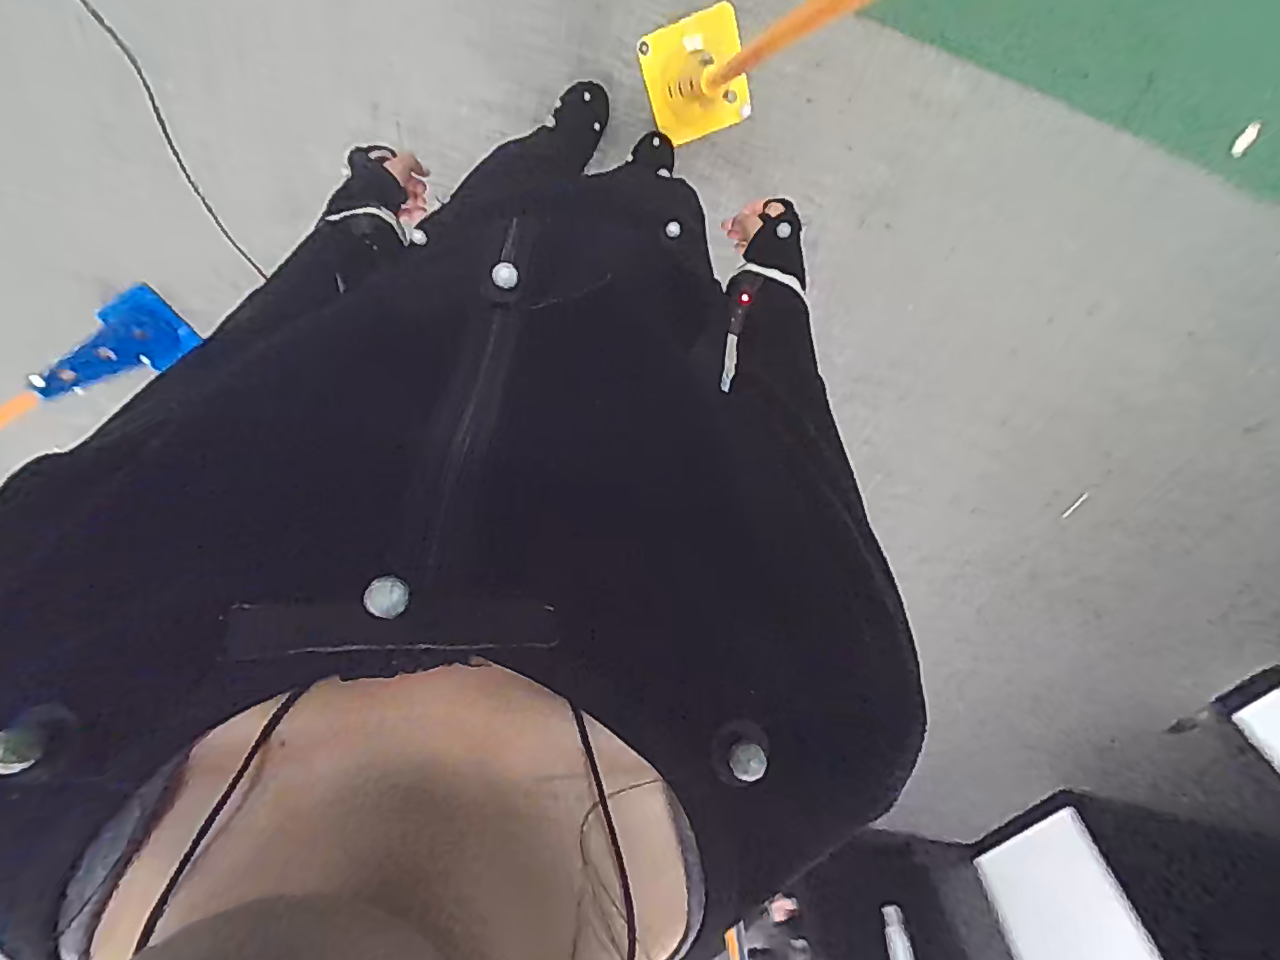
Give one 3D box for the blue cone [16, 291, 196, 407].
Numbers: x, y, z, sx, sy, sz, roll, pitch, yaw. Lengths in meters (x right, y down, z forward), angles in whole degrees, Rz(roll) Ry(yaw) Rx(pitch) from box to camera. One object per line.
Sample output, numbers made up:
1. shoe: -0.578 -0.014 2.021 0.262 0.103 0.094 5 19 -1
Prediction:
1. blue cone: -1.313 -0.283 1.313 0.193 0.380 0.192 -21 125 18
